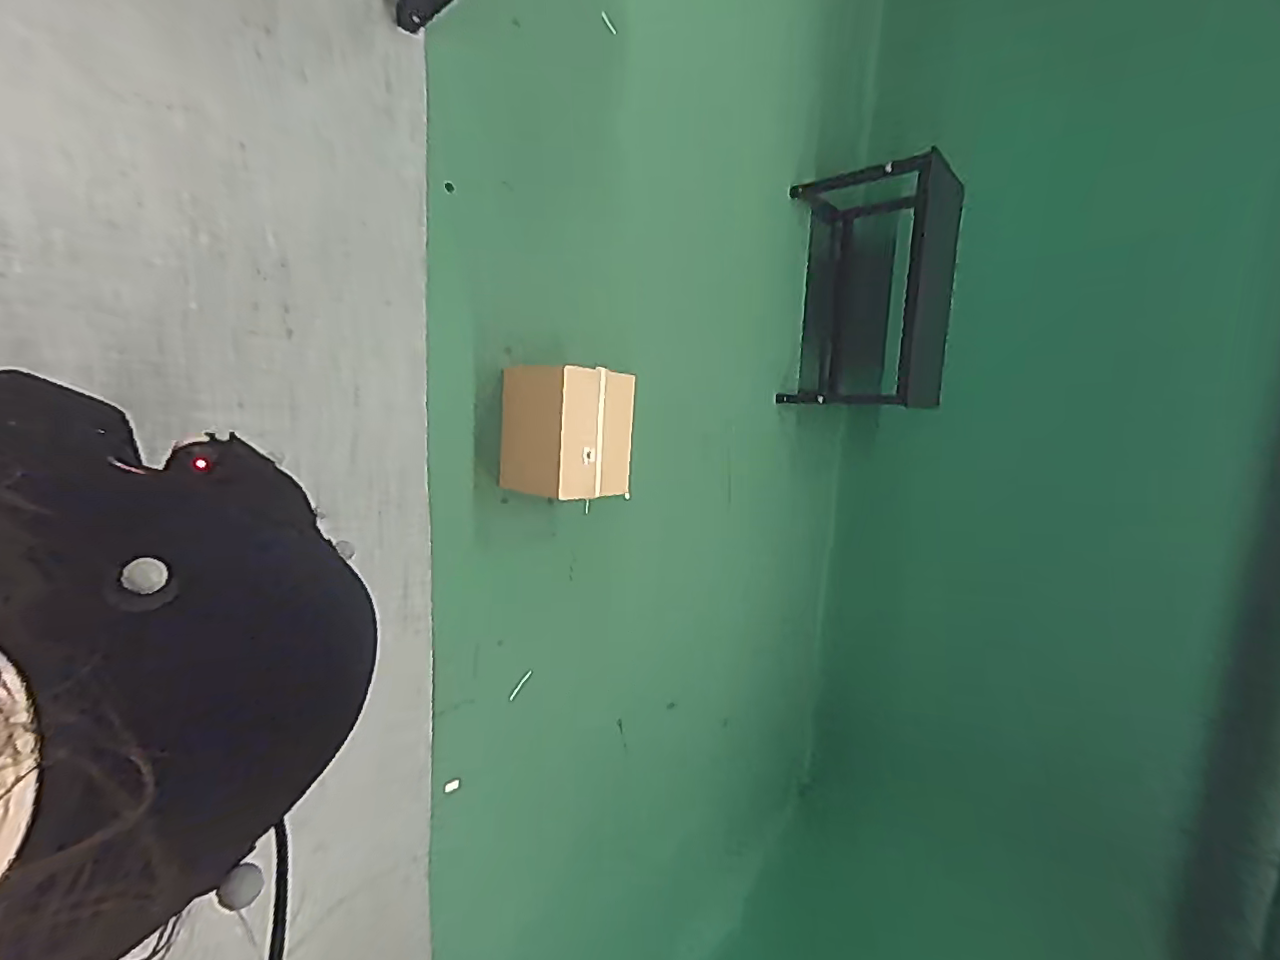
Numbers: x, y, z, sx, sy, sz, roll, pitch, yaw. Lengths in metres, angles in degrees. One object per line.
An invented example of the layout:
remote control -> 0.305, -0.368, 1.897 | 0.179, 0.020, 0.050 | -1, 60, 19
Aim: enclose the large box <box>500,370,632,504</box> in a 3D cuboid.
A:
large box -> -0.248, -0.152, 1.794 | 0.320, 0.320, 0.408 | -3, 100, -49
